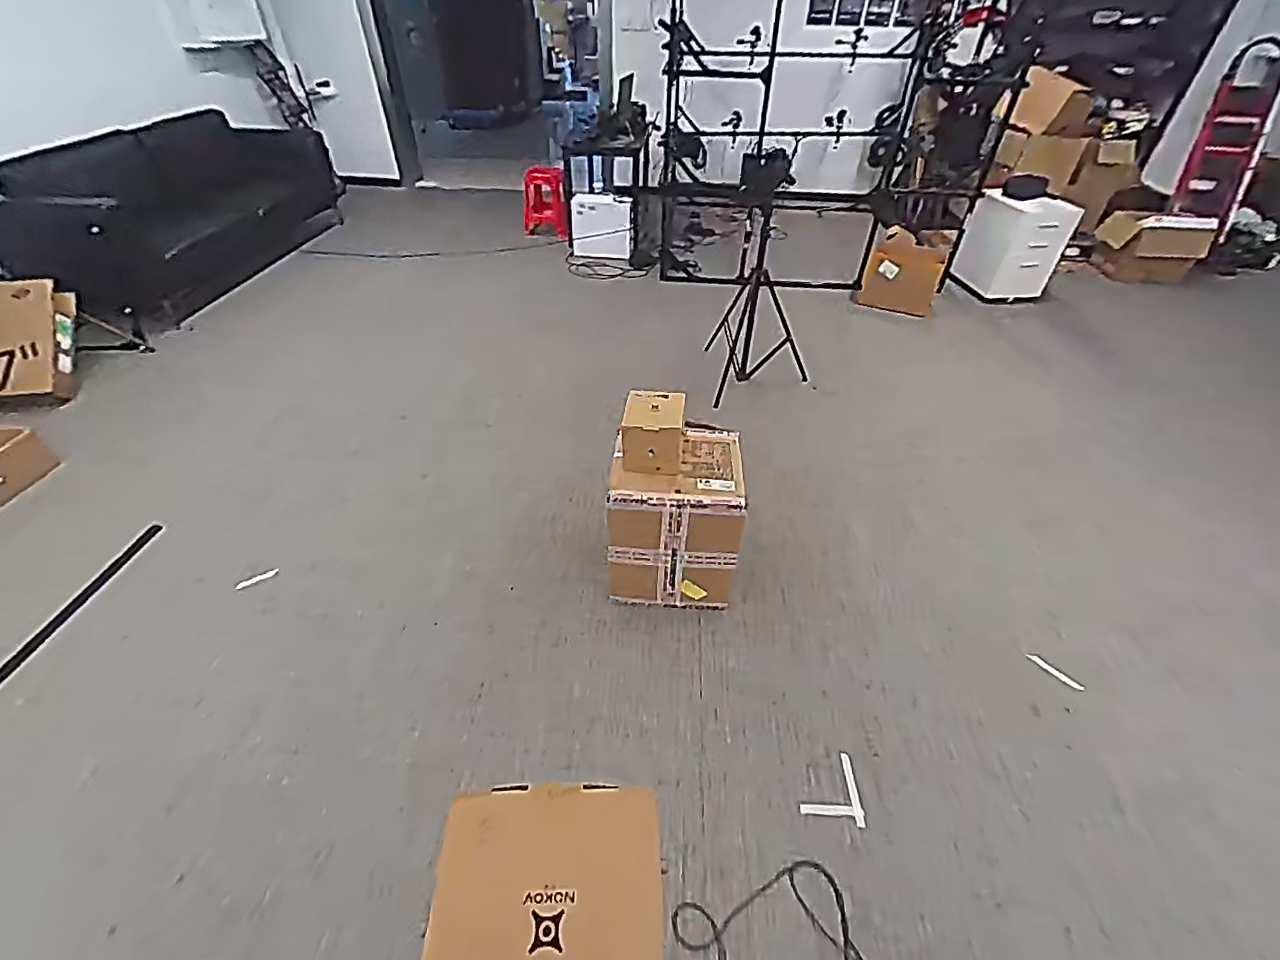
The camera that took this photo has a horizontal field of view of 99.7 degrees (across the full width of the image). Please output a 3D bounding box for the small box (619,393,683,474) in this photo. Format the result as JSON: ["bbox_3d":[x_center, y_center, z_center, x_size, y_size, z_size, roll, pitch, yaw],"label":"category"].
[{"bbox_3d":[0.037,-0.133,1.574,0.168,0.176,0.179,4,44,6],"label":"small box"}]
